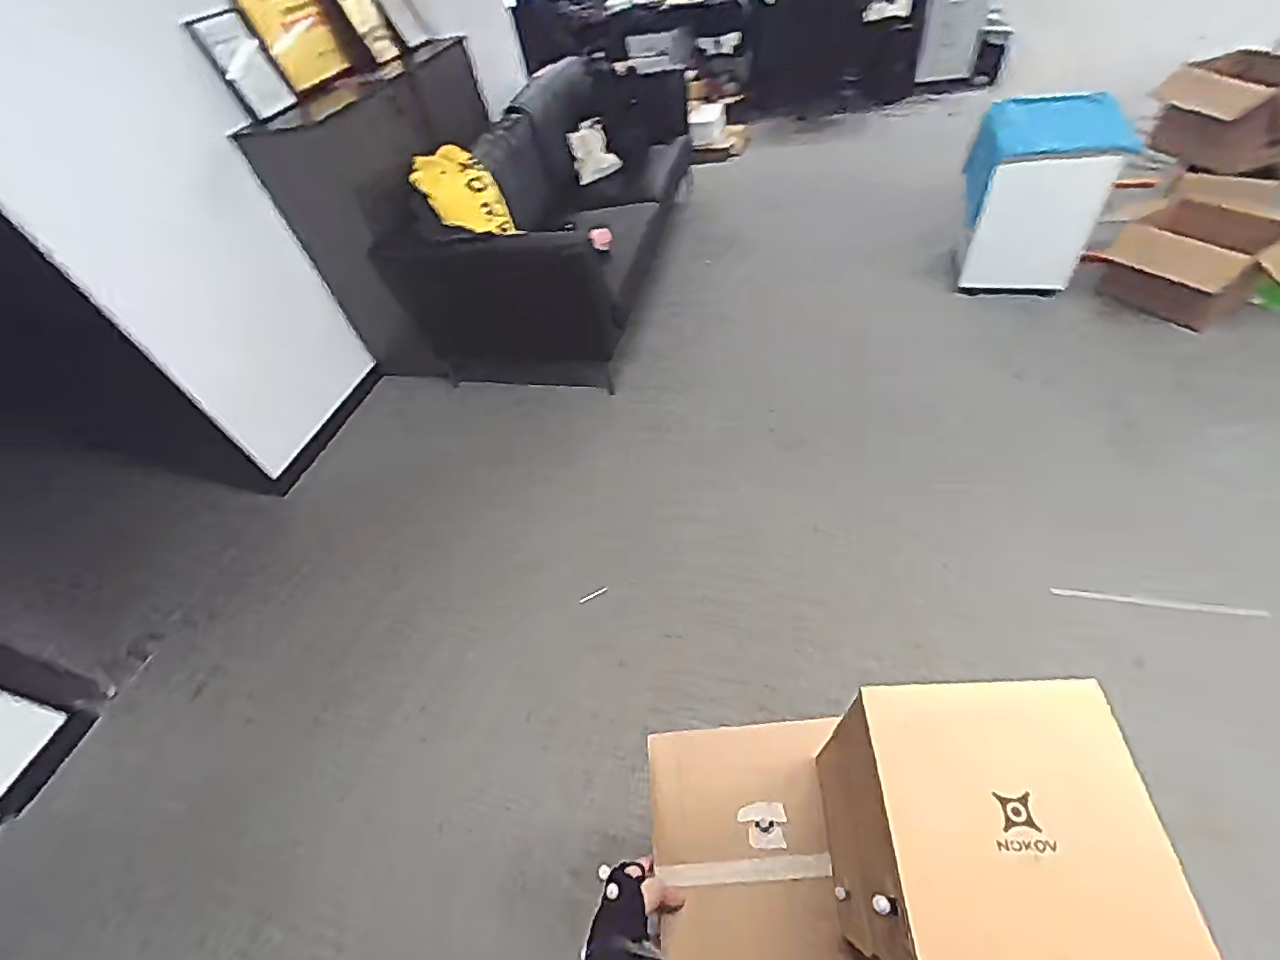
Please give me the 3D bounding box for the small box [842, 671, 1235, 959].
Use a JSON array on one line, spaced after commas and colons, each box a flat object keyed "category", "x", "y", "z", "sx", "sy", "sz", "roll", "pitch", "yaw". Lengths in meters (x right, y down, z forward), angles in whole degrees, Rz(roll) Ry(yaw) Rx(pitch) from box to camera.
[{"category": "small box", "x": 0.262, "y": 0.258, "z": 0.413, "sx": 0.168, "sy": 0.176, "sz": 0.179, "roll": -4, "pitch": 56, "yaw": 9}]
